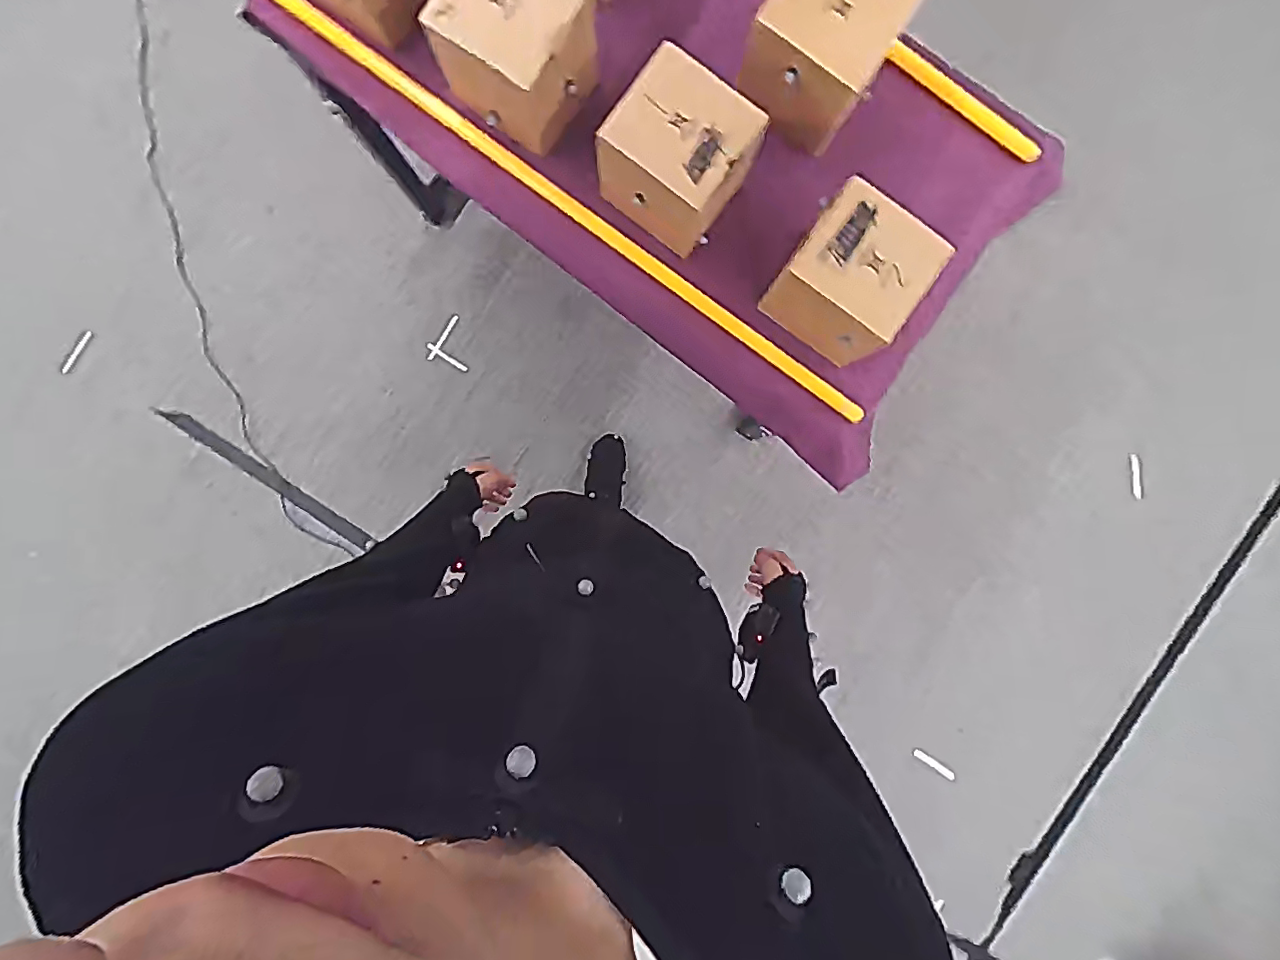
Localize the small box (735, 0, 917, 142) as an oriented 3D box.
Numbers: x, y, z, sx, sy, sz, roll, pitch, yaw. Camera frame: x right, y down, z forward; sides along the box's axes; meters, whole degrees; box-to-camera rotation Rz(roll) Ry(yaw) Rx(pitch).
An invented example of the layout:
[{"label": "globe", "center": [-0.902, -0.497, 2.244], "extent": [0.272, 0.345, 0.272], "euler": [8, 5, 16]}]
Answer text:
[{"label": "small box", "center": [0.268, -0.655, 0.815], "extent": [0.179, 0.176, 0.168], "euler": [35, 92, -1]}]

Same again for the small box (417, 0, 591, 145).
[{"label": "small box", "center": [-0.186, -0.645, 0.806], "extent": [0.179, 0.176, 0.168], "euler": [33, 91, -3]}]

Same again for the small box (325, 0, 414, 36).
[{"label": "small box", "center": [-0.428, -0.814, 0.792], "extent": [0.179, 0.176, 0.168], "euler": [34, 90, -4]}]

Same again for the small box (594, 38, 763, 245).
[{"label": "small box", "center": [0.051, -0.487, 0.815], "extent": [0.179, 0.176, 0.168], "euler": [37, 89, -1]}]
